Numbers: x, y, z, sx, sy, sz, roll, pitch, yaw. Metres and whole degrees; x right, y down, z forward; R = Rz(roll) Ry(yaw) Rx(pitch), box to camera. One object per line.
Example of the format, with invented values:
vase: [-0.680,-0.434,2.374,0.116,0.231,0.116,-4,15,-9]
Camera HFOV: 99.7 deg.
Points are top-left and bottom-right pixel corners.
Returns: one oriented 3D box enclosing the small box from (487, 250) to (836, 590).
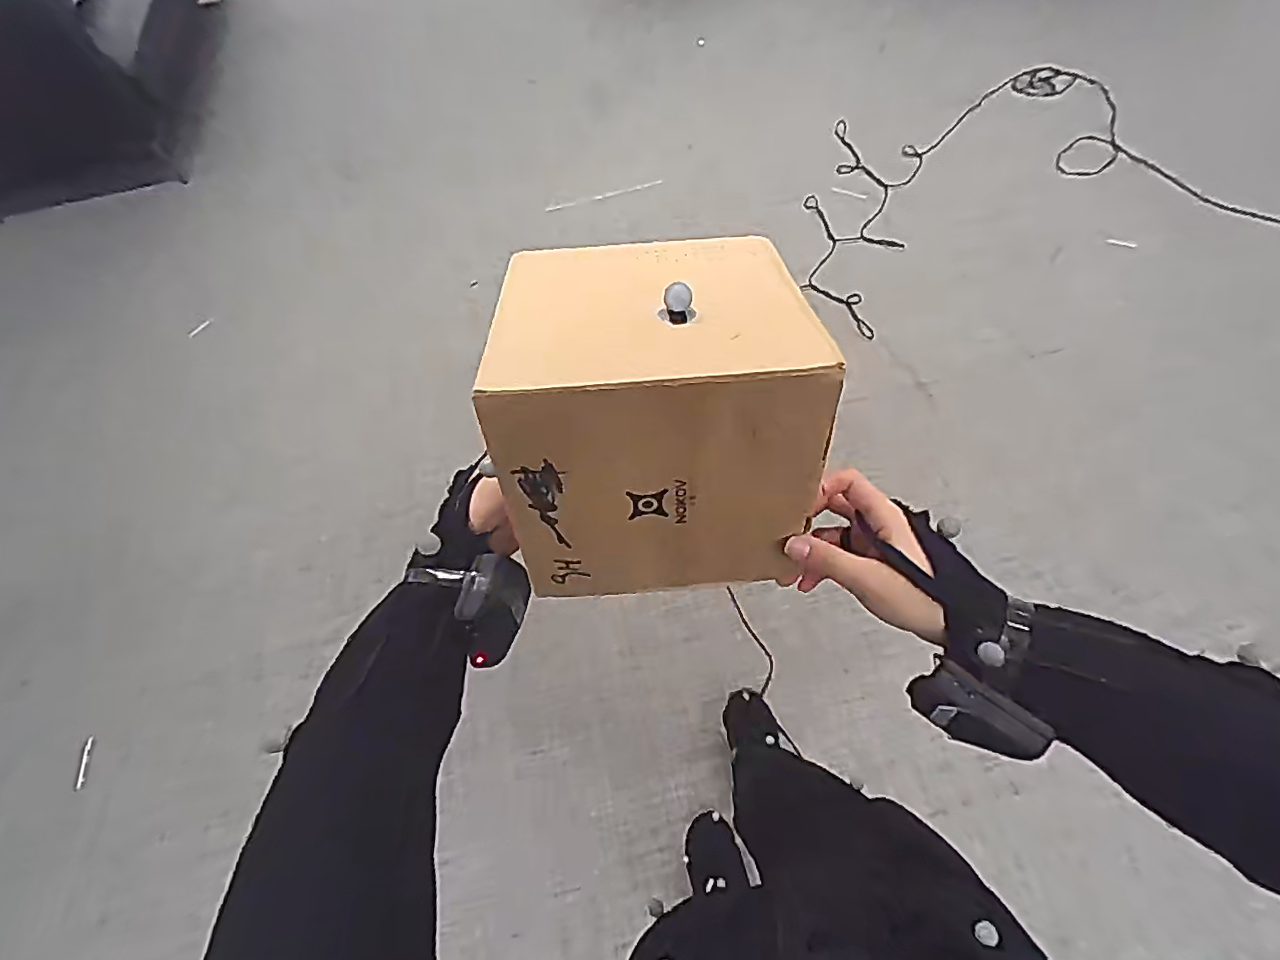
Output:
small box: [0.007,-0.046,0.373,0.179,0.168,0.176,-4,43,-1]
